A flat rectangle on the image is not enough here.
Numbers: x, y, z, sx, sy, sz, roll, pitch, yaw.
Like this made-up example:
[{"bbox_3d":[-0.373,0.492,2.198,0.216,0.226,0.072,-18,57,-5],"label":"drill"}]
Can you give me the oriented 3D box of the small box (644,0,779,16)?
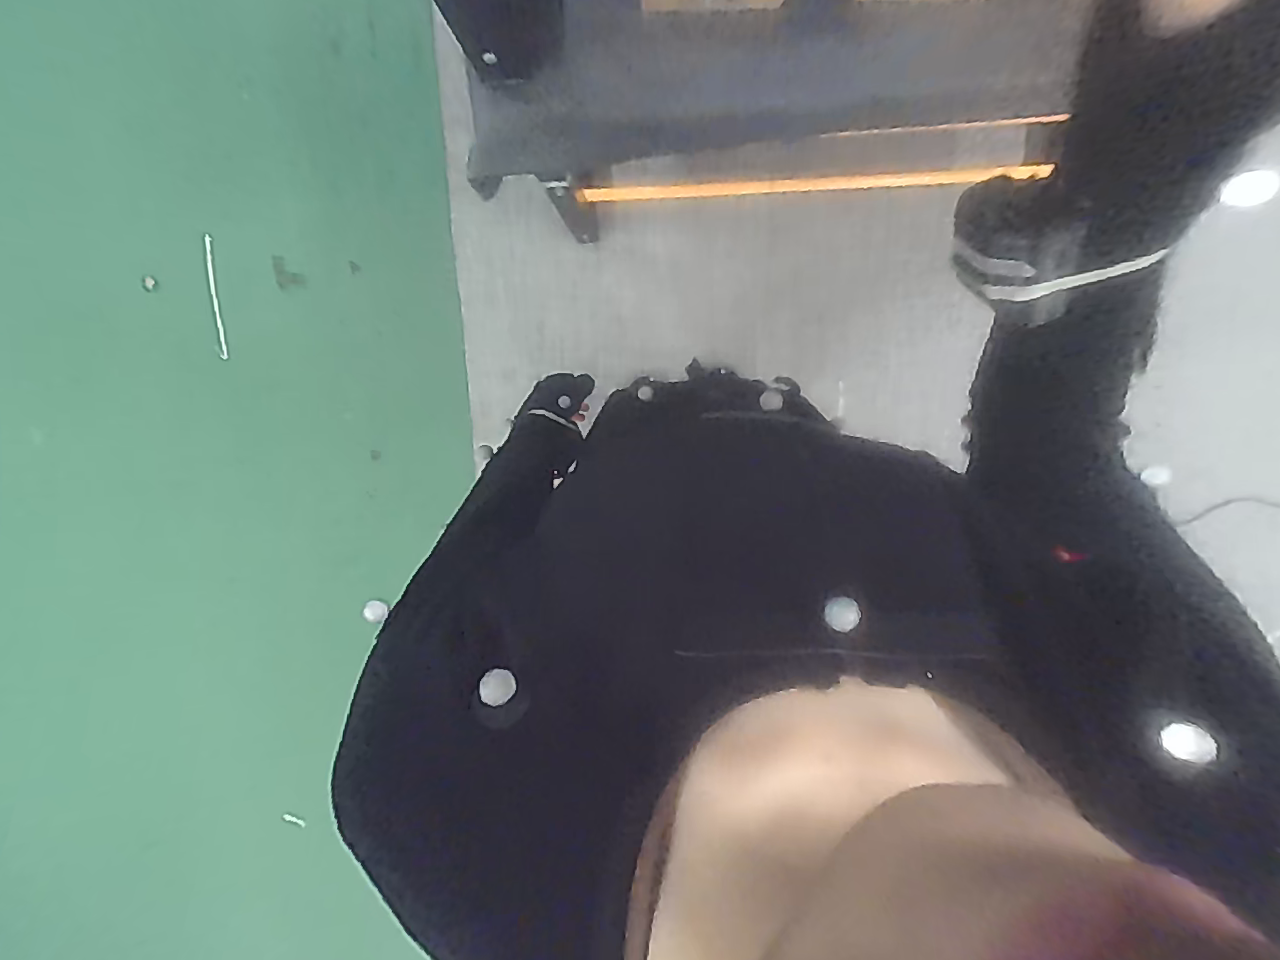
[{"bbox_3d":[0.079,-0.620,0.543,0.168,0.176,0.179,0,101,2],"label":"small box"}]
